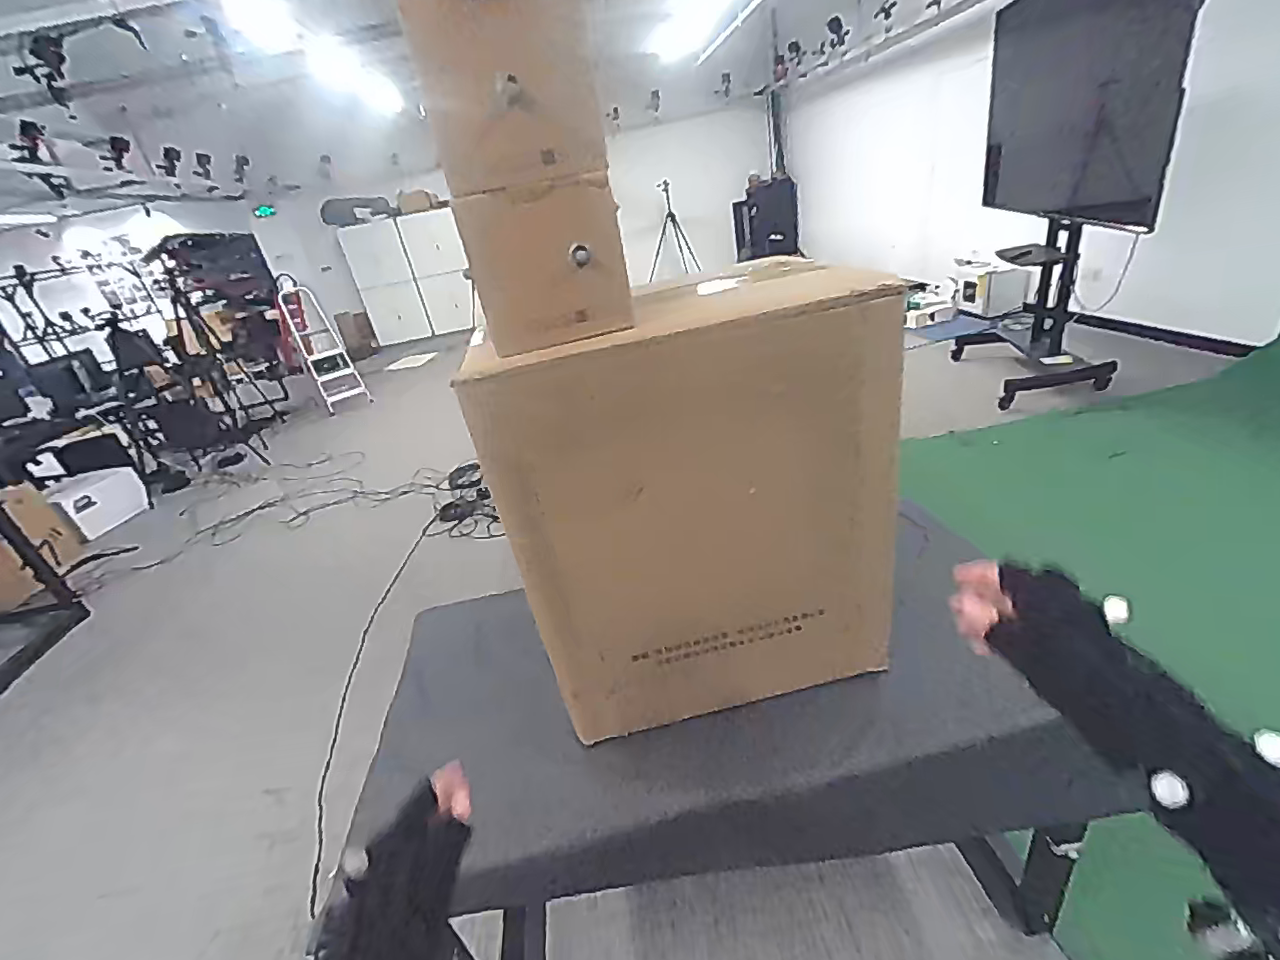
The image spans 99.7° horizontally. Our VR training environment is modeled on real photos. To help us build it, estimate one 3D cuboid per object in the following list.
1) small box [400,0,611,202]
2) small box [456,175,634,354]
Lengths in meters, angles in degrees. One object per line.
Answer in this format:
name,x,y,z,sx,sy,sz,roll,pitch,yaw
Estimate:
small box,-0.133,-0.403,0.584,0.168,0.176,0.179,-13,30,-5
small box,-0.110,-0.261,0.660,0.168,0.176,0.179,-13,28,-5
